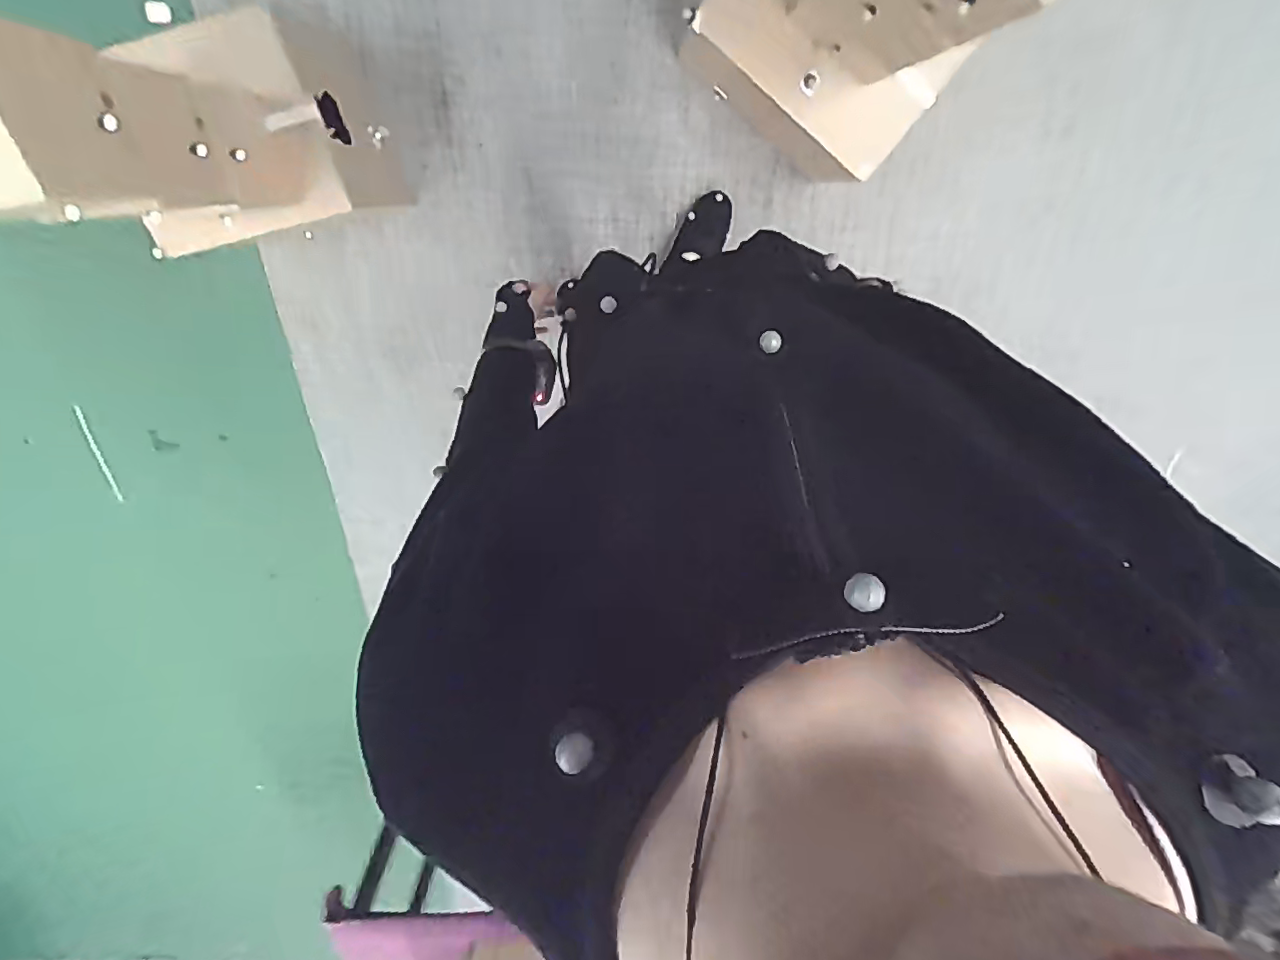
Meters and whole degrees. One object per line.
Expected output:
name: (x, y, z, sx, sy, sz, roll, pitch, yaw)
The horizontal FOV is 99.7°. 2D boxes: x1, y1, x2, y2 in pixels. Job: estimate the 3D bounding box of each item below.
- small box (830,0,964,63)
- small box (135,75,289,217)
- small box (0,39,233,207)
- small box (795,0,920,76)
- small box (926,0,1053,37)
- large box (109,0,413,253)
small box: (0.343, -0.639, 0.640, 0.179, 0.176, 0.168, 33, 113, -16)
small box: (-0.718, -0.538, 0.877, 0.168, 0.176, 0.179, -6, 119, 3)
small box: (-0.714, -0.467, 0.731, 0.179, 0.176, 0.168, -5, 119, 2)
small box: (0.357, -0.725, 0.781, 0.179, 0.176, 0.168, 28, 113, -16)
small box: (0.350, -0.563, 0.496, 0.168, 0.176, 0.179, 30, 113, -16)
large box: (-0.750, -0.677, 1.081, 0.408, 0.320, 0.320, -10, 117, 7)
